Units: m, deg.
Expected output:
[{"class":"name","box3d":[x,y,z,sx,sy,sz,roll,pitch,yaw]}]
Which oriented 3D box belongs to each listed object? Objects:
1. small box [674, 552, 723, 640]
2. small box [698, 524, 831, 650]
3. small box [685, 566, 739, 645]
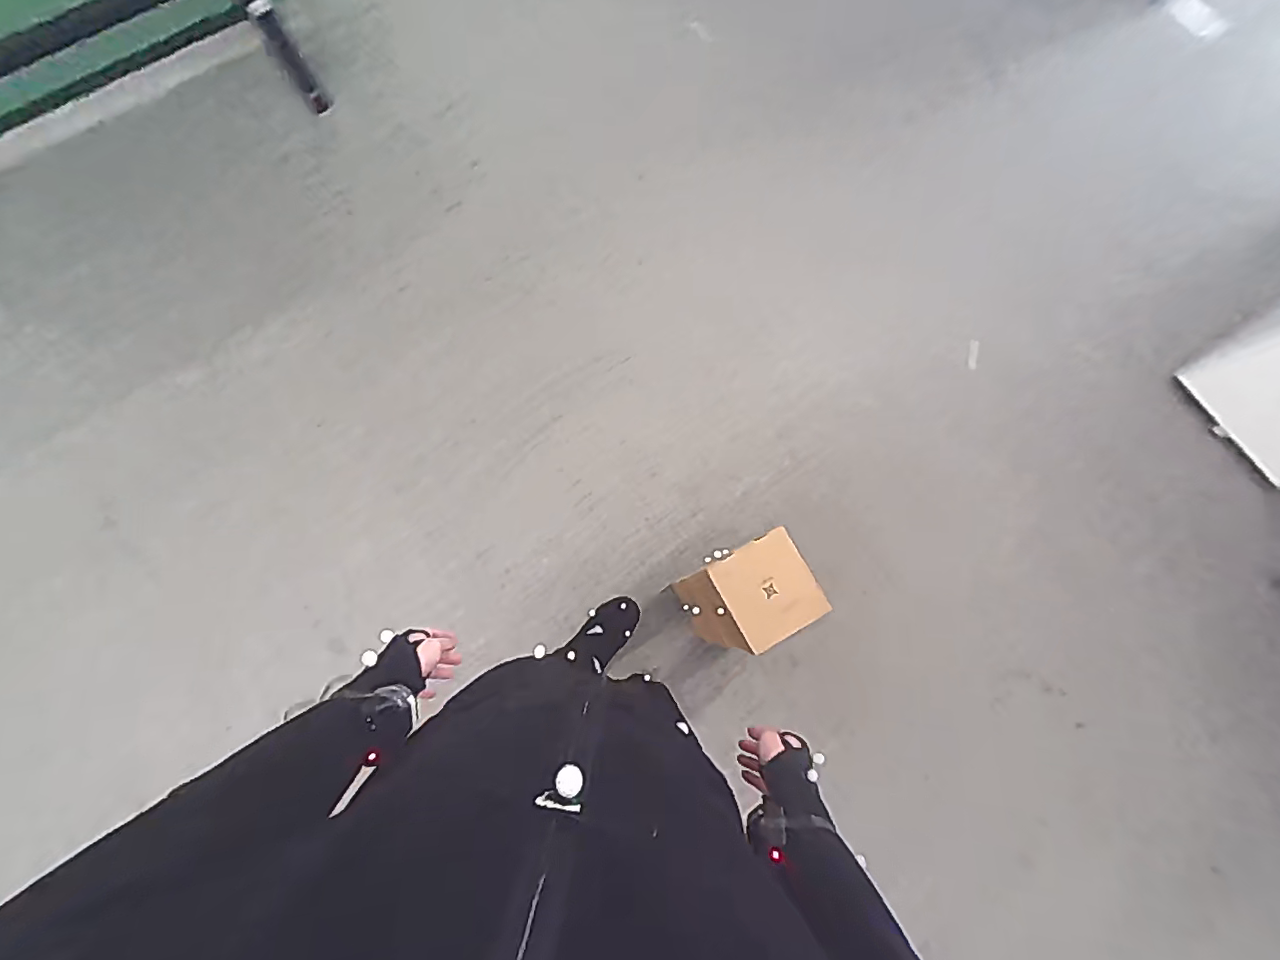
[{"class":"small box","box3d":[0.201,0.284,1.364,0.179,0.176,0.168,-28,80,-8]},{"class":"small box","box3d":[0.229,0.206,1.049,0.168,0.176,0.179,-28,81,-7]},{"class":"small box","box3d":[0.216,0.246,1.204,0.179,0.176,0.168,-26,80,-7]}]
